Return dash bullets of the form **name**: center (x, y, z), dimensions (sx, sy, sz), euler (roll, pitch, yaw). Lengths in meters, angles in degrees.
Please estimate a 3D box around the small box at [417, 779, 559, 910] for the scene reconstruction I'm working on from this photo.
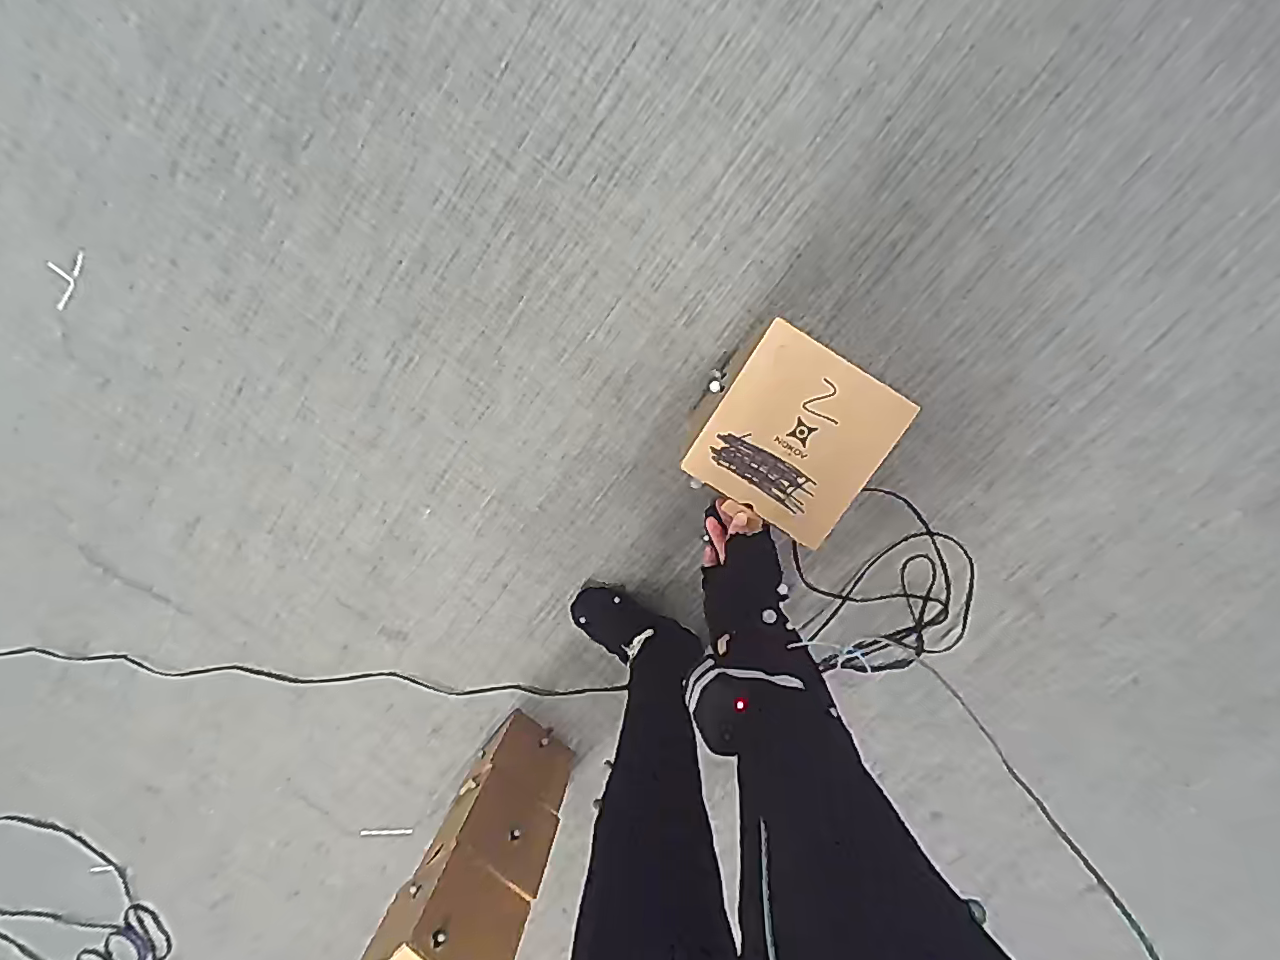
- **small box**: center (-0.280, 0.698, 1.005), dimensions (0.179, 0.176, 0.168), euler (40, 105, -4)

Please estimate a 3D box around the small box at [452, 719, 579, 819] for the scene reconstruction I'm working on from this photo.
- **small box**: center (-0.261, 0.652, 1.165), dimensions (0.179, 0.176, 0.168), euler (37, 108, -1)

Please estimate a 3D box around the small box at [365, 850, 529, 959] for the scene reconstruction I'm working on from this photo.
- **small box**: center (-0.305, 0.740, 0.850), dimensions (0.179, 0.176, 0.168), euler (45, 104, -4)

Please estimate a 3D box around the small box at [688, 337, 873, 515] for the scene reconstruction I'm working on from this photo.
- **small box**: center (0.185, -0.081, 0.766), dimensions (0.179, 0.176, 0.168), euler (35, 103, -2)
